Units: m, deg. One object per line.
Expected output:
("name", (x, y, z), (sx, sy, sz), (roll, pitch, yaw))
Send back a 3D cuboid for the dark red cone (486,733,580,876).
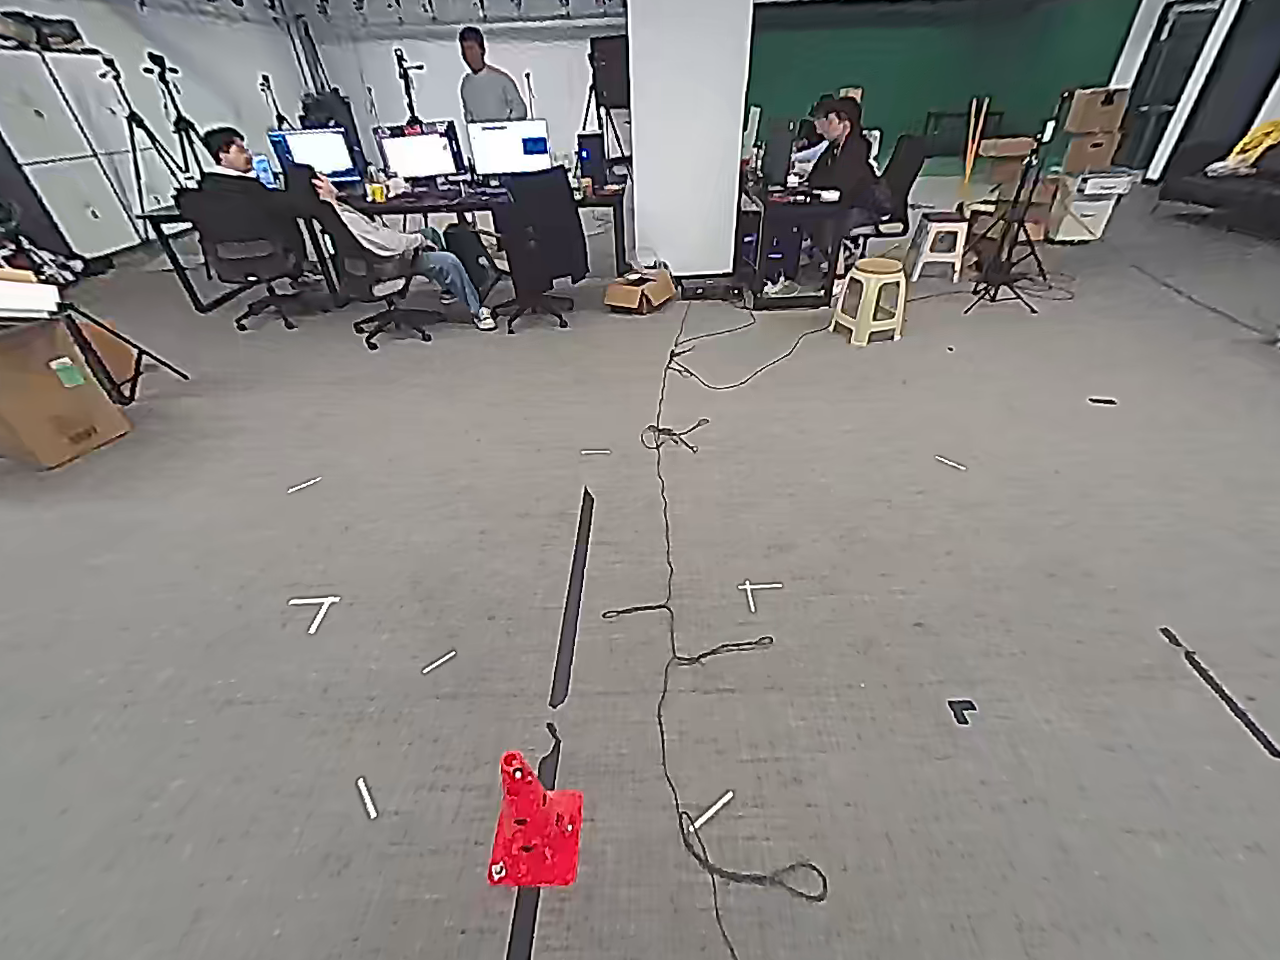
("dark red cone", (-0.244, 0.668, 1.155), (0.201, 0.394, 0.202), (-1, 36, 1))
